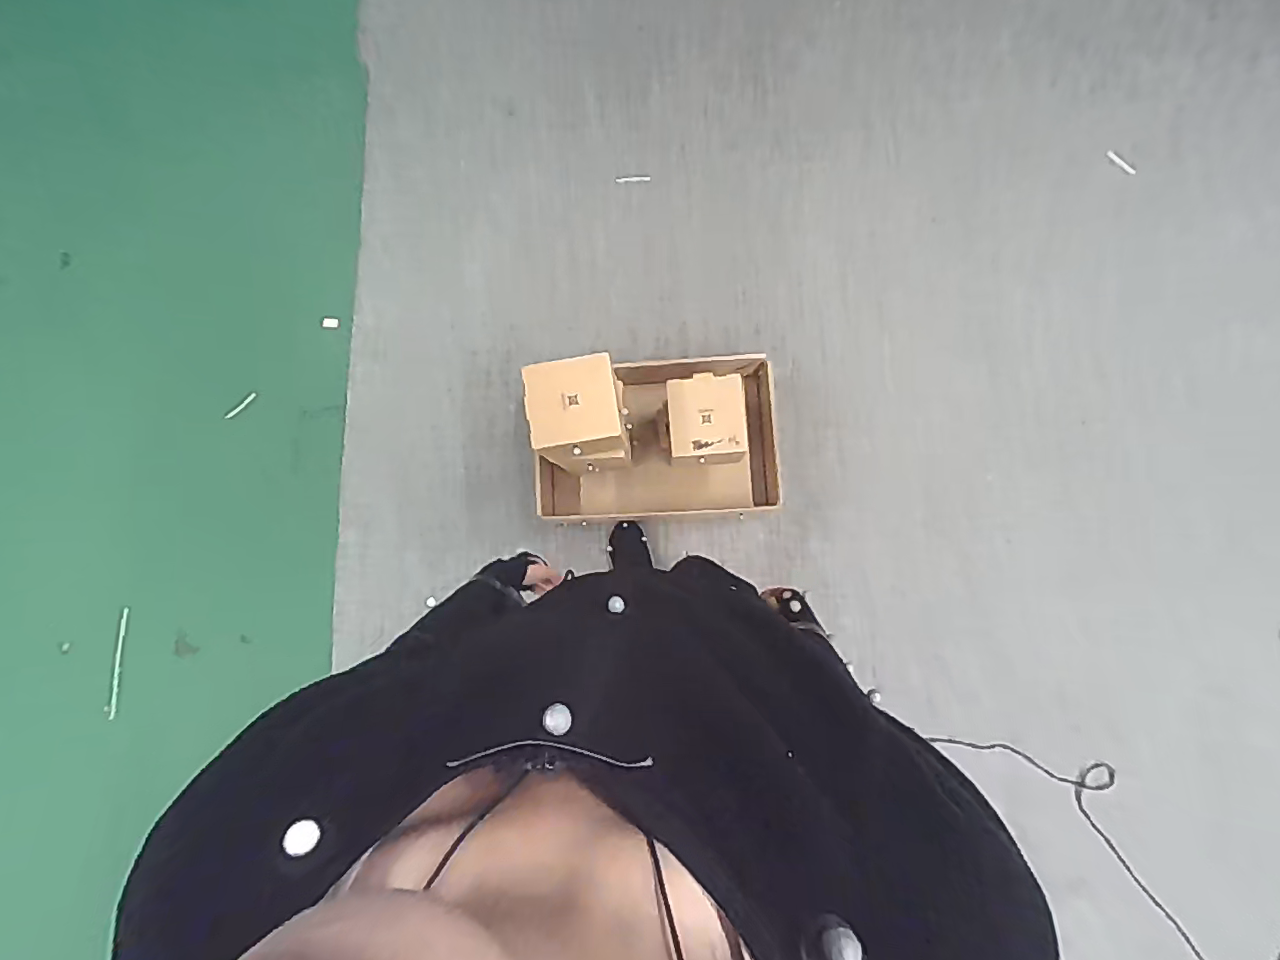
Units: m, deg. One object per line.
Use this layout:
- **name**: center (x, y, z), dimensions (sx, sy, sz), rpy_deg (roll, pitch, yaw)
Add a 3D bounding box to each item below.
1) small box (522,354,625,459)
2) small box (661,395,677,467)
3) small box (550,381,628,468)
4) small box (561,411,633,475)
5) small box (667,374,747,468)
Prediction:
- **small box**: center (-0.128, -0.144, 1.109), dimensions (0.179, 0.176, 0.168), rpy_deg (-9, 84, 3)
- **small box**: center (0.154, -0.132, 1.417), dimensions (0.179, 0.176, 0.168), rpy_deg (-8, 83, 3)
- **small box**: center (-0.116, -0.123, 1.269), dimensions (0.168, 0.176, 0.179), rpy_deg (-2, 84, 3)
- **small box**: center (-0.115, -0.111, 1.434), dimensions (0.179, 0.176, 0.168), rpy_deg (-6, 83, 1)
- **small box**: center (0.150, -0.130, 1.251), dimensions (0.168, 0.176, 0.179), rpy_deg (-4, 82, 5)
